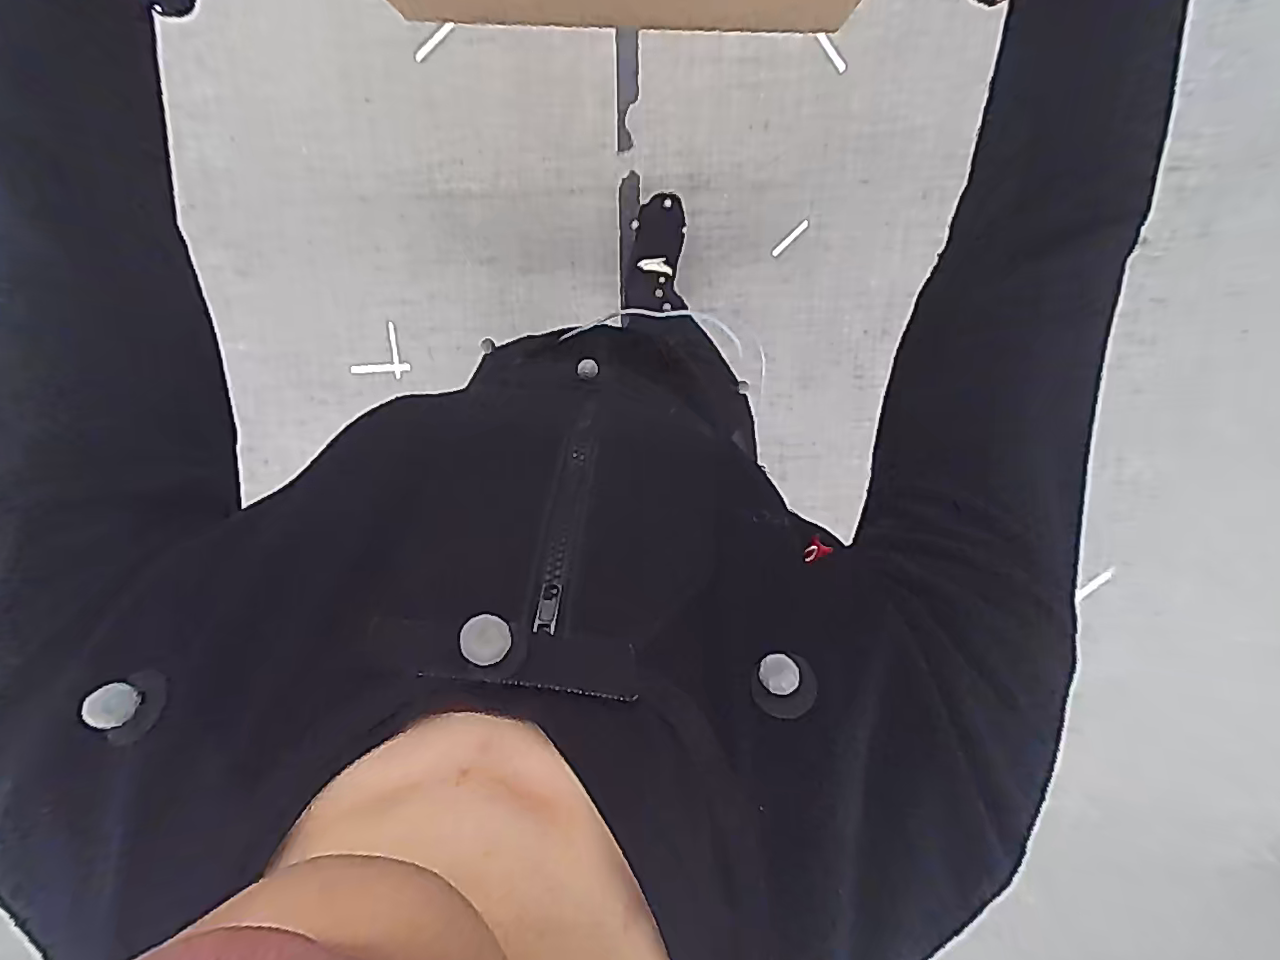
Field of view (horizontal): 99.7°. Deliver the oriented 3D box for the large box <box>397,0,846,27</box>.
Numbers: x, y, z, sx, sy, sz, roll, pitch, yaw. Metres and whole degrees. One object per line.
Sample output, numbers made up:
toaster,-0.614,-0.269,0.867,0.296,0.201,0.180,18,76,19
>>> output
large box,-0.018,-0.518,0.319,0.408,0.320,0.320,2,111,0
